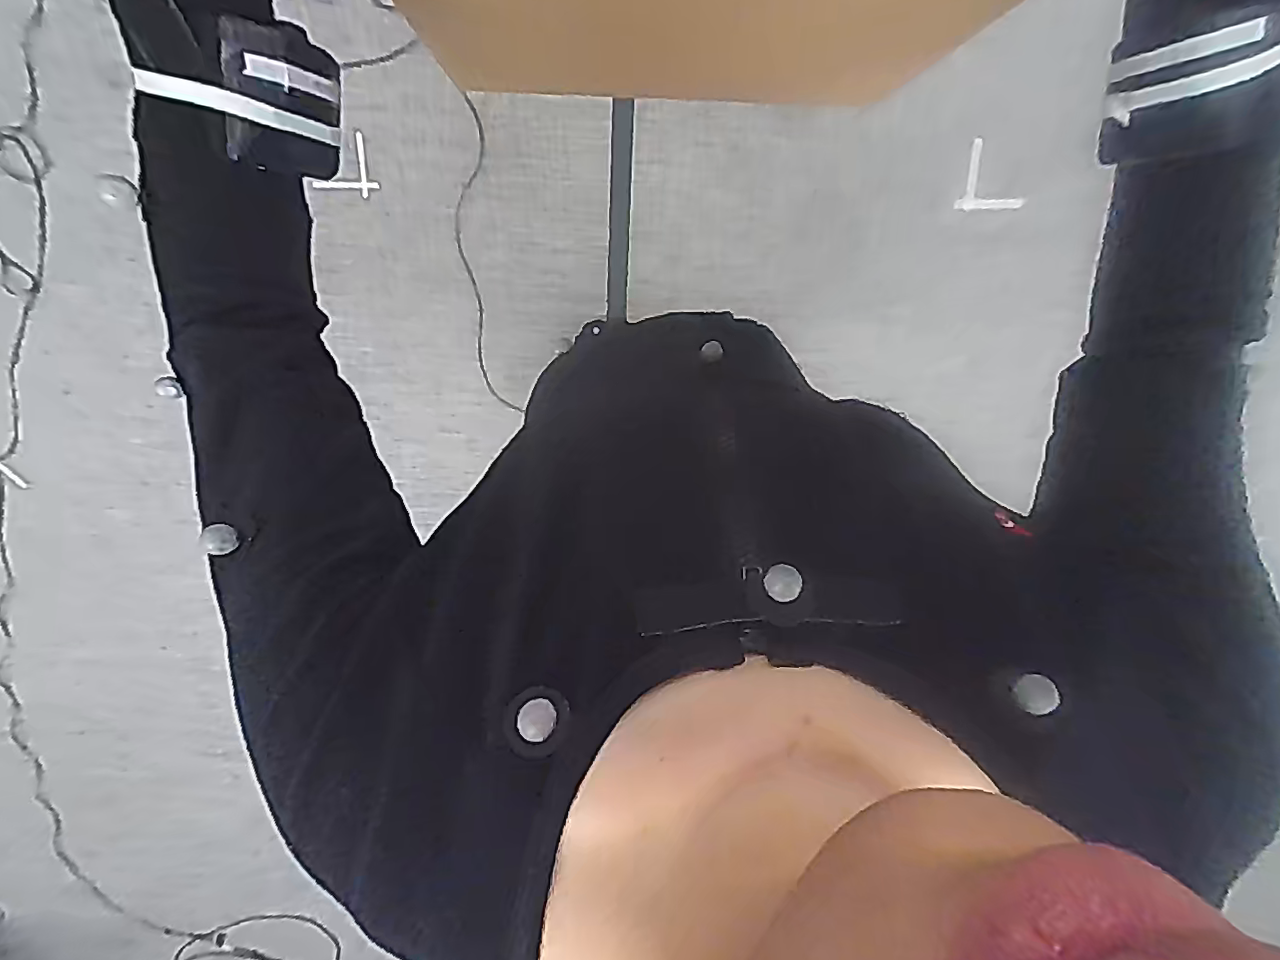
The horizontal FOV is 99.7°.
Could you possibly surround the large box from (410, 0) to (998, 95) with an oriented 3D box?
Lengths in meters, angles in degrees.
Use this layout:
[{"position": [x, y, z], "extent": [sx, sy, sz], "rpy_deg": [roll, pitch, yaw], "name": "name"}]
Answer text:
[{"position": [0.041, -0.462, 0.323], "extent": [0.408, 0.320, 0.320], "rpy_deg": [-1, 110, -4], "name": "large box"}]
